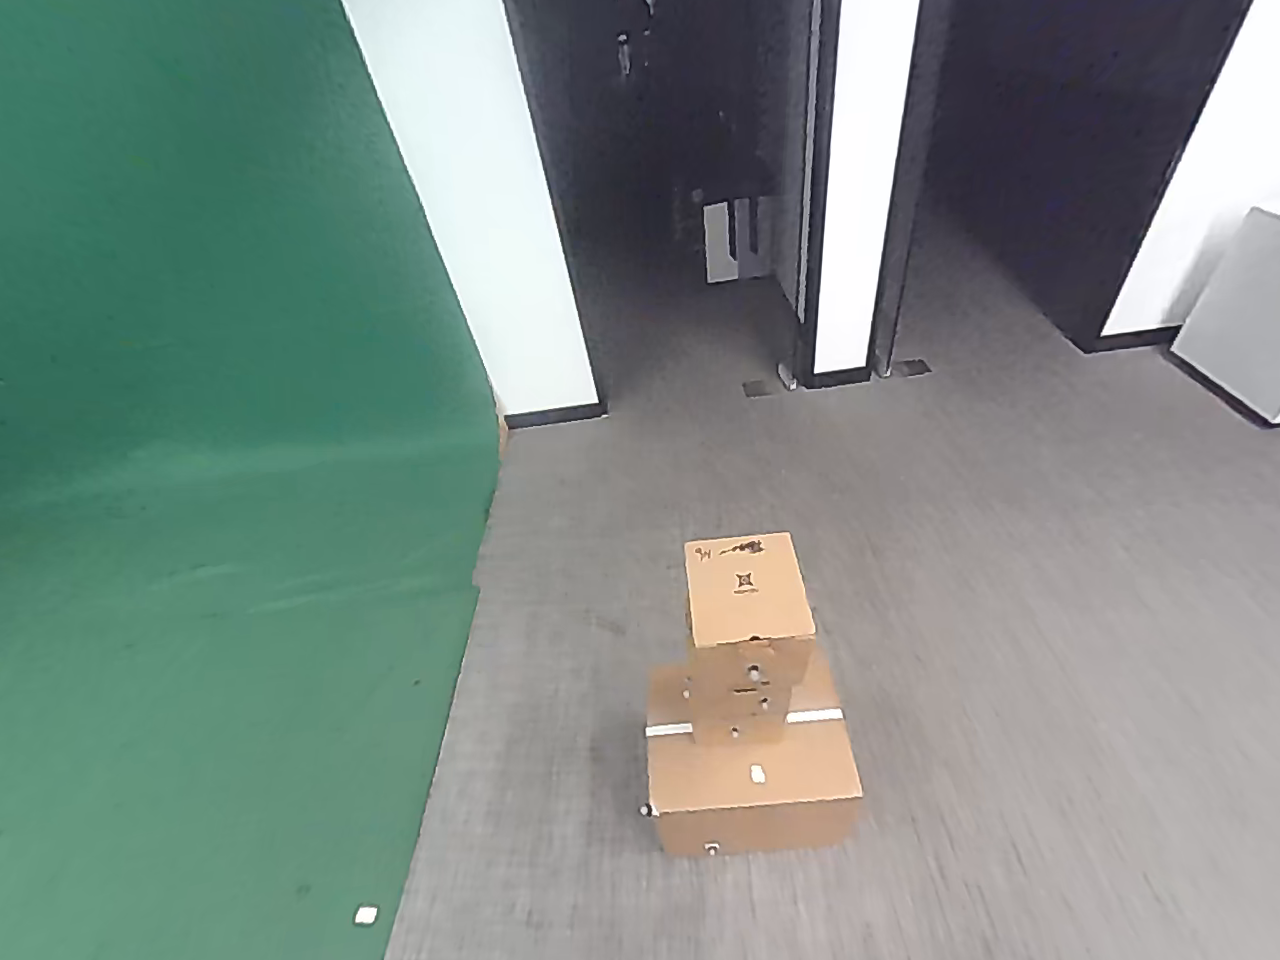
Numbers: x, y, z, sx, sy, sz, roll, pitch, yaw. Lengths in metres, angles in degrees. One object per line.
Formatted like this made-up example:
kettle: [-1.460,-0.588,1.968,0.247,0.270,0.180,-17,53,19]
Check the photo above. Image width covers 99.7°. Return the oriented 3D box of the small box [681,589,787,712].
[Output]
small box: [0.168,0.307,0.978,0.168,0.176,0.179,-6,47,4]

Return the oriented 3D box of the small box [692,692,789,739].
small box: [0.192,0.413,1.099,0.179,0.176,0.168,-8,49,4]

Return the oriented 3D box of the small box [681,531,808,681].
small box: [0.159,0.204,0.851,0.168,0.176,0.179,-7,49,5]
